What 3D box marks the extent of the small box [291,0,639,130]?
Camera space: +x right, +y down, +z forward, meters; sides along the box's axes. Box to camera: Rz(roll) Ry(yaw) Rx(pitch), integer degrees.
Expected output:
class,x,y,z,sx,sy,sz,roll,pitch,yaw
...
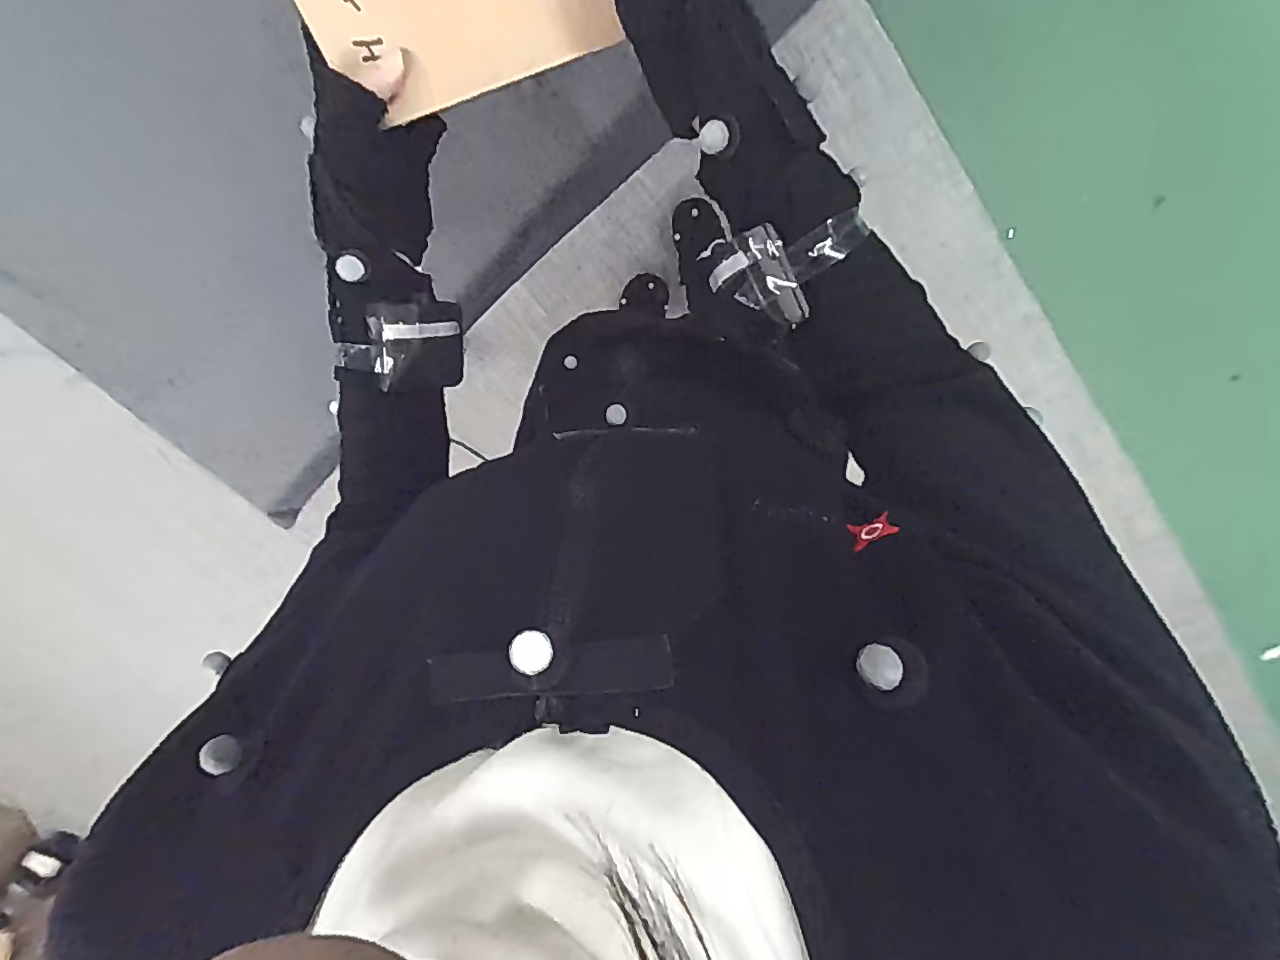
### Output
class,x,y,z,sx,sy,sz,roll,pitch,yaw
small box,-0.108,-0.336,0.314,0.179,0.176,0.168,-13,132,8
